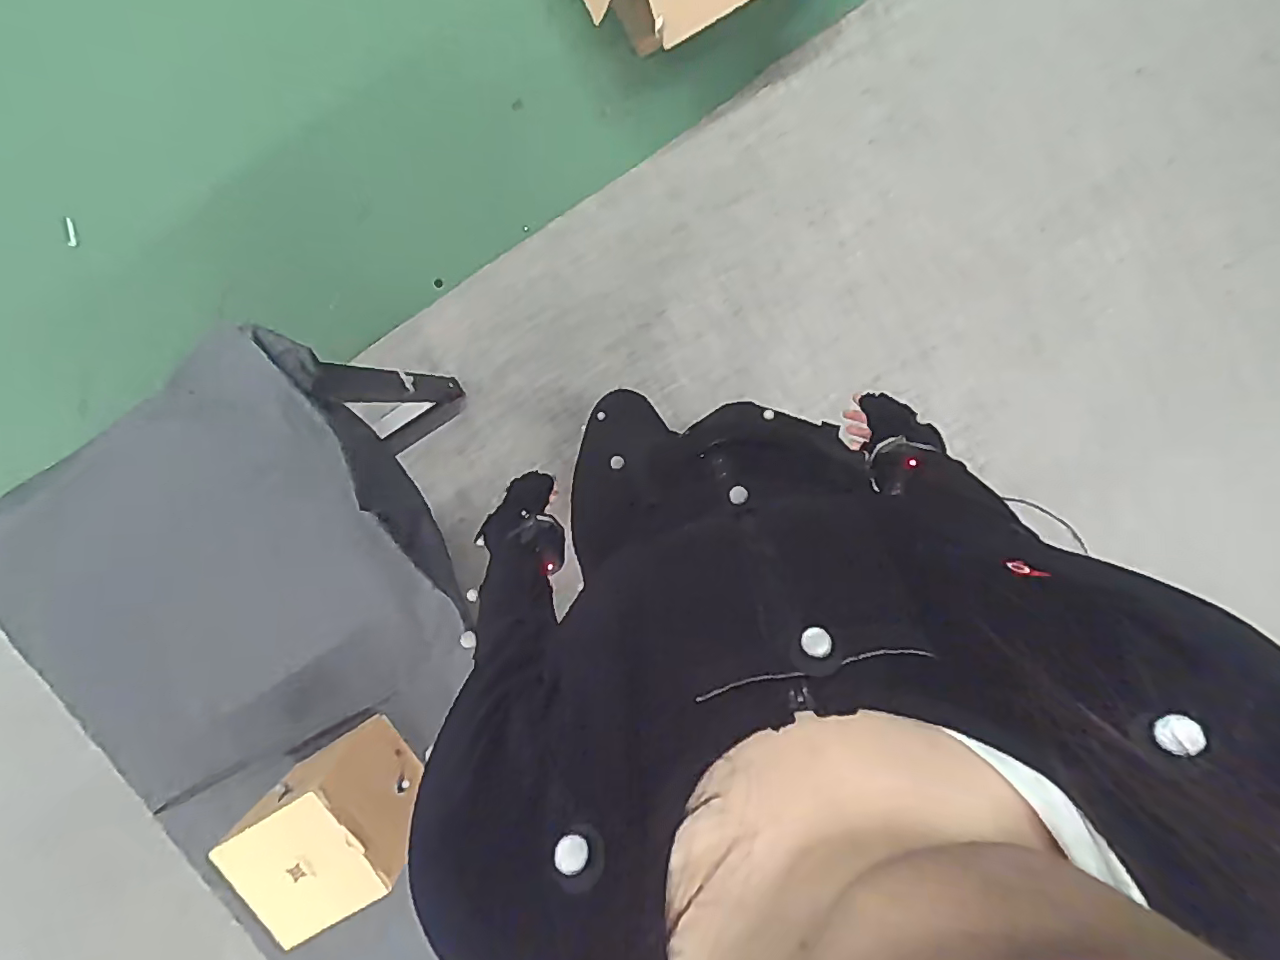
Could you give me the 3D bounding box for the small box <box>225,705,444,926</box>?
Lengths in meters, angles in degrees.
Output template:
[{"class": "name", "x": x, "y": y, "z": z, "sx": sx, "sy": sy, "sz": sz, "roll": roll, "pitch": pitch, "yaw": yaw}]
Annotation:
[{"class": "small box", "x": -0.420, "y": 0.466, "z": 0.776, "sx": 0.179, "sy": 0.176, "sz": 0.168, "roll": -33, "pitch": 95, "yaw": 6}]
